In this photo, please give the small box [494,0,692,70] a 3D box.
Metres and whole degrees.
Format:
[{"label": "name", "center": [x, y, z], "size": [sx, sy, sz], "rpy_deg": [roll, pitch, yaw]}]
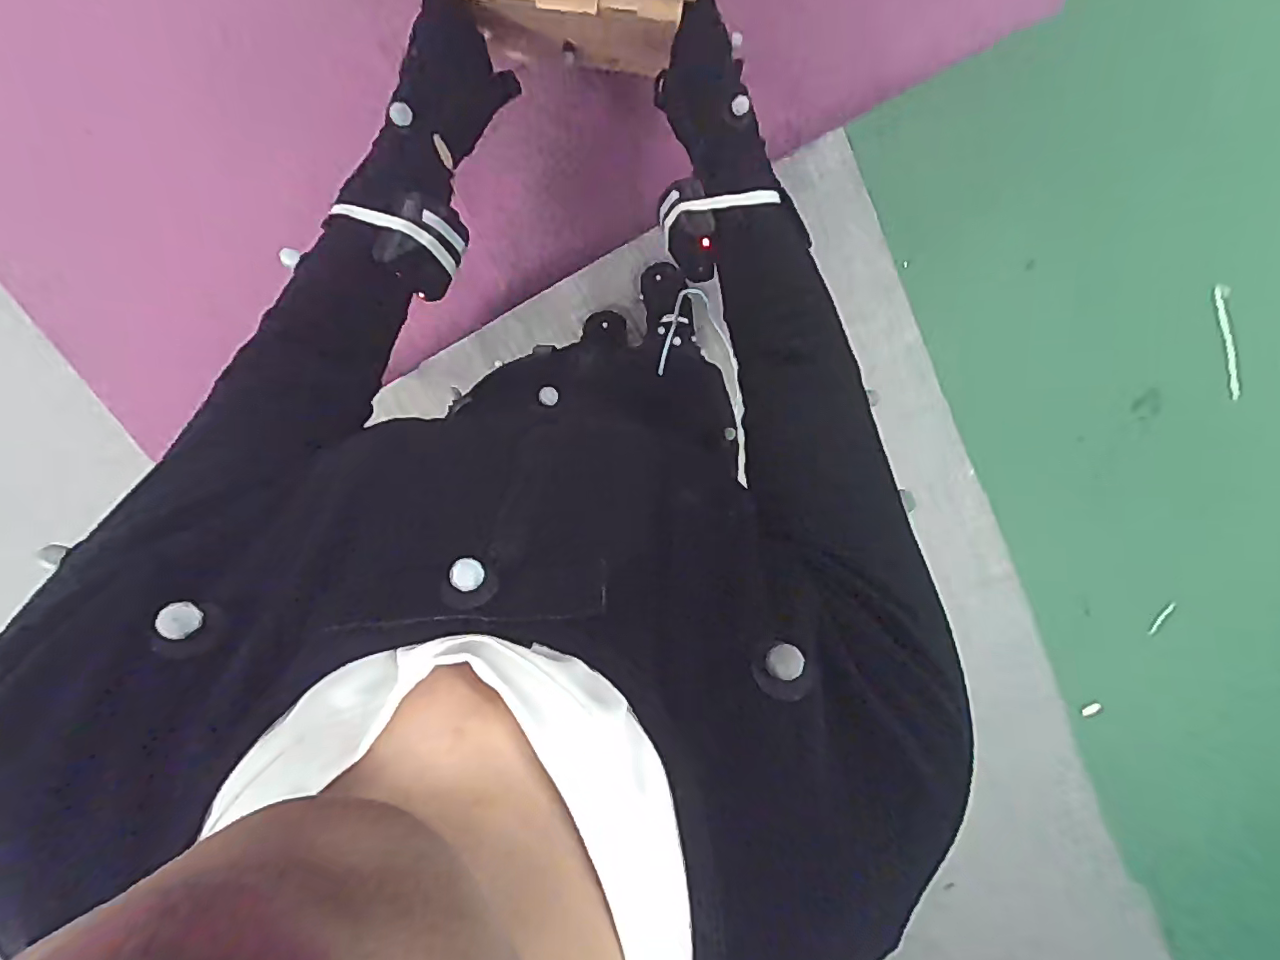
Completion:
[{"label": "small box", "center": [-0.033, -0.452, 0.417], "size": [0.168, 0.176, 0.179], "rpy_deg": [7, 117, -2]}]
